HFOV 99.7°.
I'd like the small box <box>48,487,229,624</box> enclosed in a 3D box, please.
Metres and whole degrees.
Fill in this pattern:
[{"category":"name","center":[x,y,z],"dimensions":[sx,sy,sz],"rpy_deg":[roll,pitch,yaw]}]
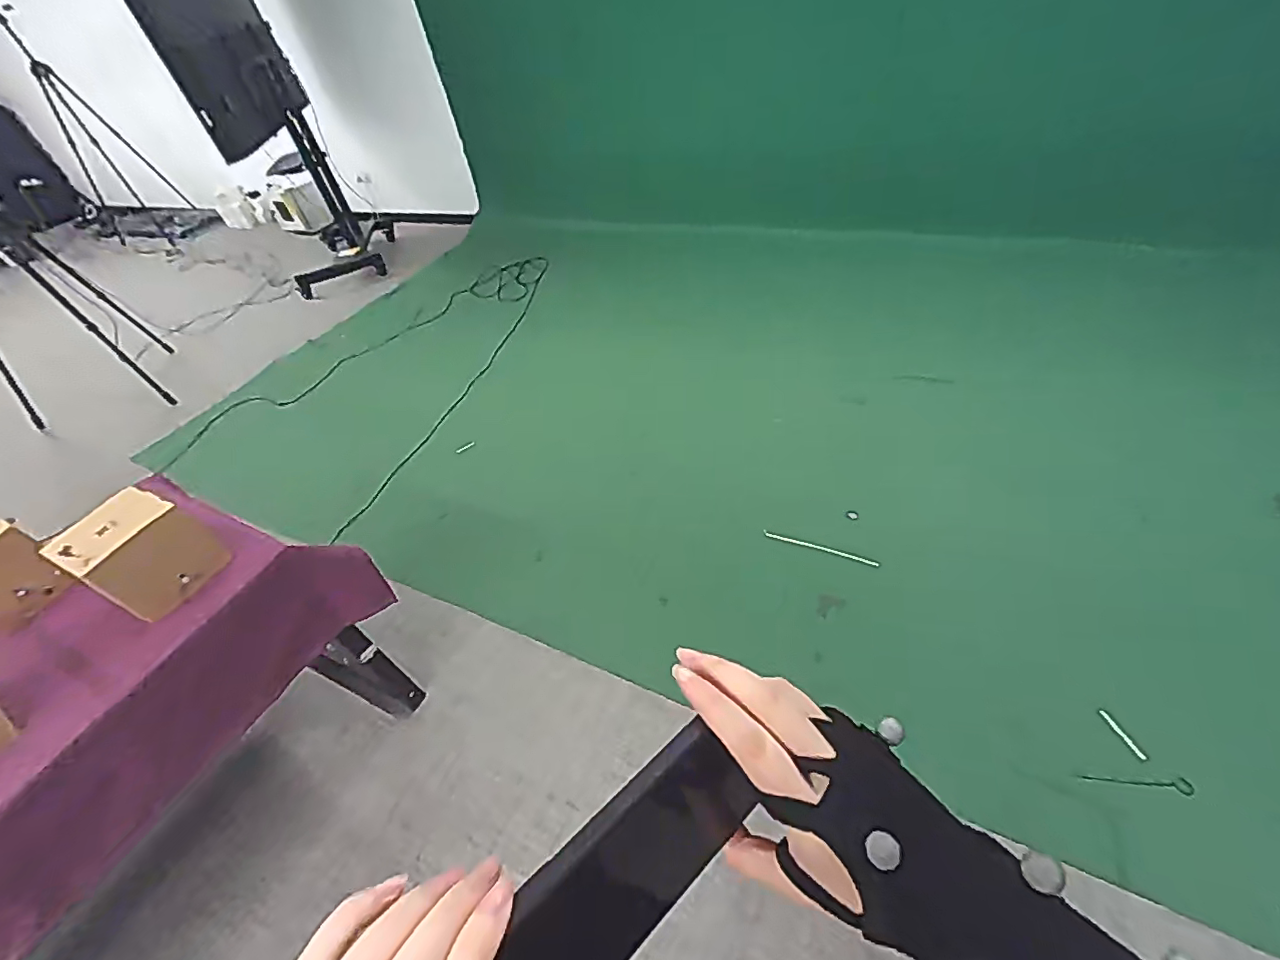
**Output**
[{"category":"small box","center":[-0.956,0.146,1.055],"dimensions":[0.168,0.176,0.179],"rpy_deg":[13,50,24]}]

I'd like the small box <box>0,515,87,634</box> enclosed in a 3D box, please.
[{"category":"small box","center":[-1.298,0.185,1.089],"dimensions":[0.179,0.176,0.168],"rpy_deg":[13,50,23]}]

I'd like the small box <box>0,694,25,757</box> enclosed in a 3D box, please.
[{"category":"small box","center":[-1.150,0.407,0.839],"dimensions":[0.168,0.176,0.179],"rpy_deg":[17,51,27]}]
